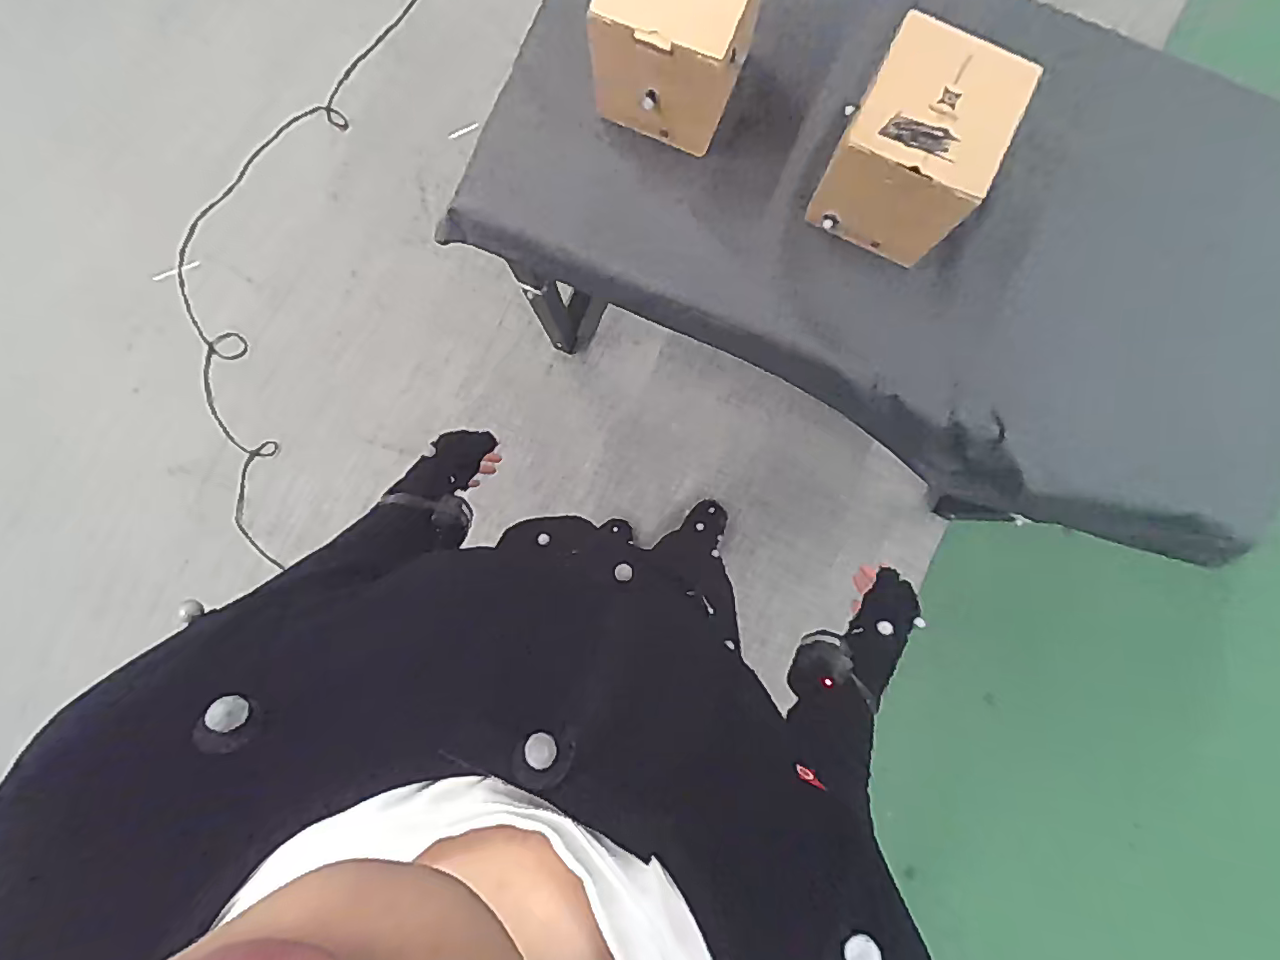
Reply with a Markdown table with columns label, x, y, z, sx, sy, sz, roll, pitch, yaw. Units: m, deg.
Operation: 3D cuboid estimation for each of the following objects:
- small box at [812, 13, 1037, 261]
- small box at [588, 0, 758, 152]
| label | x | y | z | sx | sy | sz | roll | pitch | yaw |
| --- | --- | --- | --- | --- | --- | --- | --- | --- | --- |
| small box | 0.340 | -0.415 | 0.687 | 0.168 | 0.176 | 0.179 | 26 | 87 | 2 |
| small box | 0.049 | -0.573 | 0.699 | 0.168 | 0.176 | 0.179 | 23 | 88 | 2 |
